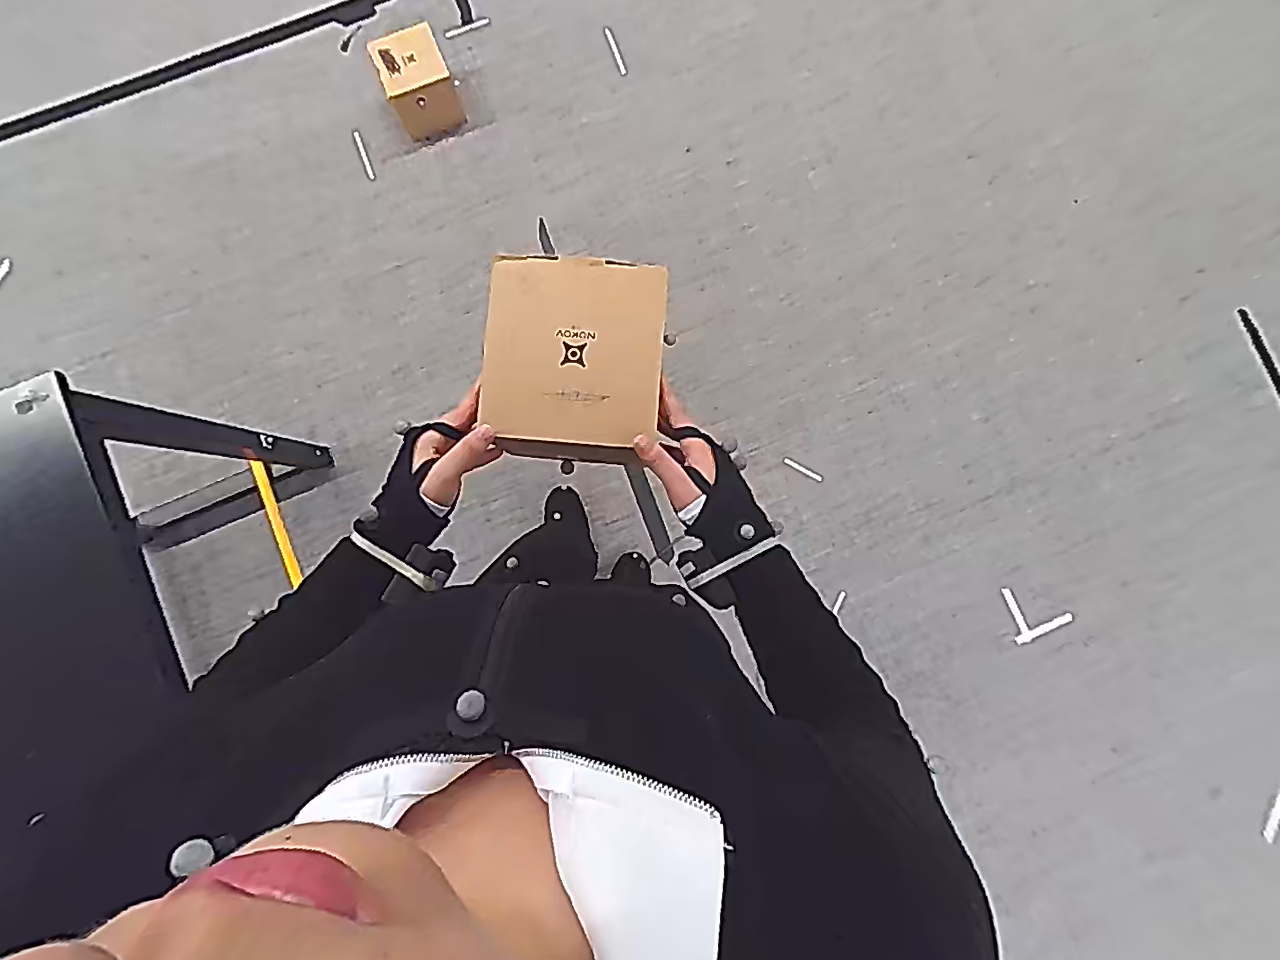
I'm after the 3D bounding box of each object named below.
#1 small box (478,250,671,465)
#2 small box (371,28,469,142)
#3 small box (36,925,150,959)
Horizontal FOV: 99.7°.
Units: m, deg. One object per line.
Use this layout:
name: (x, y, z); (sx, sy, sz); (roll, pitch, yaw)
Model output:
small box: (-0.061, -0.117, 0.580); (0.168, 0.176, 0.179); (5, 86, 0)
small box: (-0.606, -1.089, 1.508); (0.179, 0.176, 0.168); (-23, 87, -3)
small box: (-0.731, 0.693, 0.641); (0.179, 0.176, 0.168); (-20, 86, -2)
